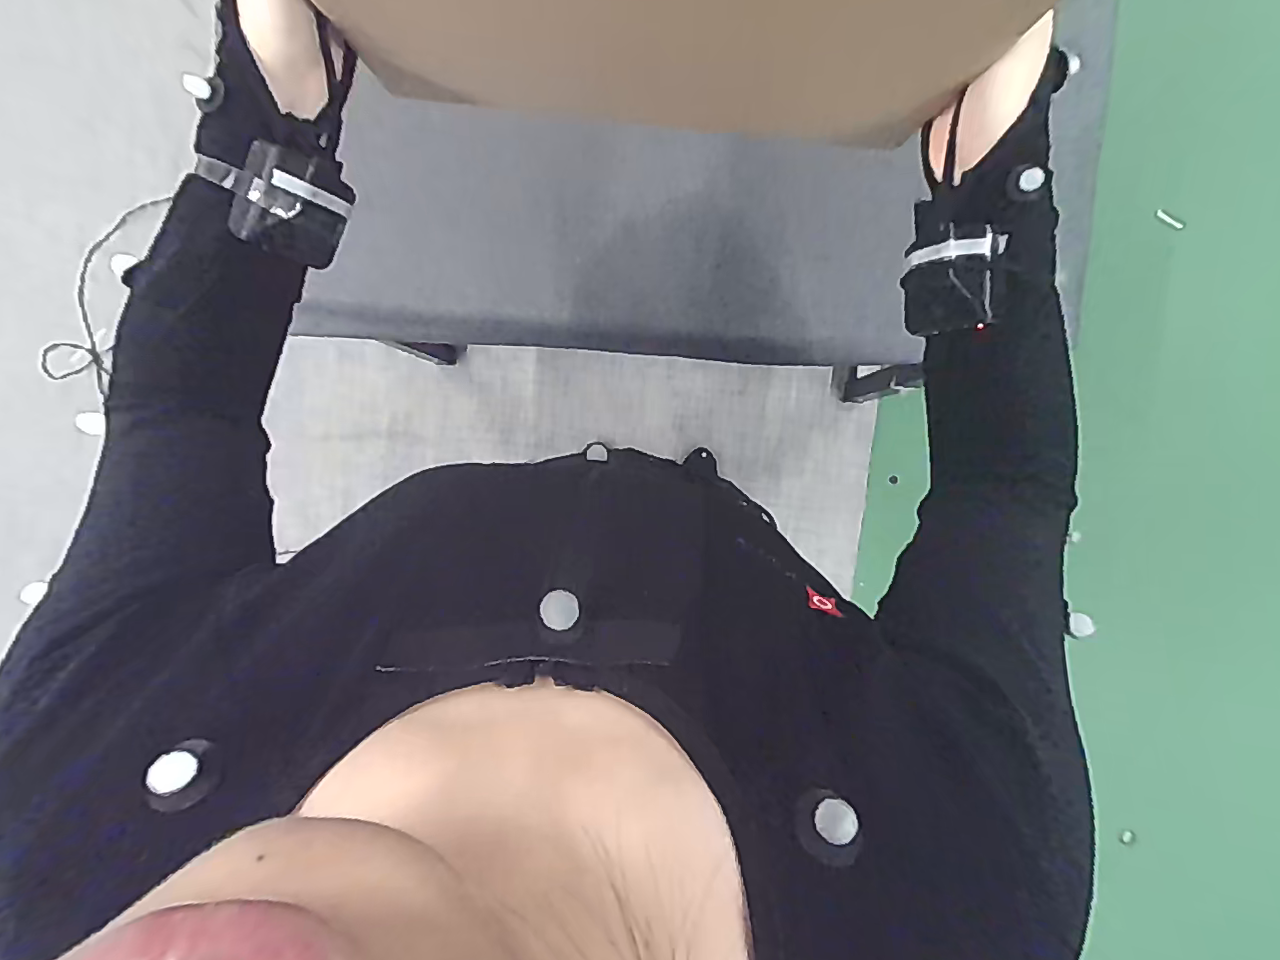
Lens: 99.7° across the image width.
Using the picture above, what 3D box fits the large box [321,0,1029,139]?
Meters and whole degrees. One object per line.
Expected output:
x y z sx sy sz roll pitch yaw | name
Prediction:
0.016 -0.409 0.264 0.408 0.320 0.320 4 101 -2 | large box
